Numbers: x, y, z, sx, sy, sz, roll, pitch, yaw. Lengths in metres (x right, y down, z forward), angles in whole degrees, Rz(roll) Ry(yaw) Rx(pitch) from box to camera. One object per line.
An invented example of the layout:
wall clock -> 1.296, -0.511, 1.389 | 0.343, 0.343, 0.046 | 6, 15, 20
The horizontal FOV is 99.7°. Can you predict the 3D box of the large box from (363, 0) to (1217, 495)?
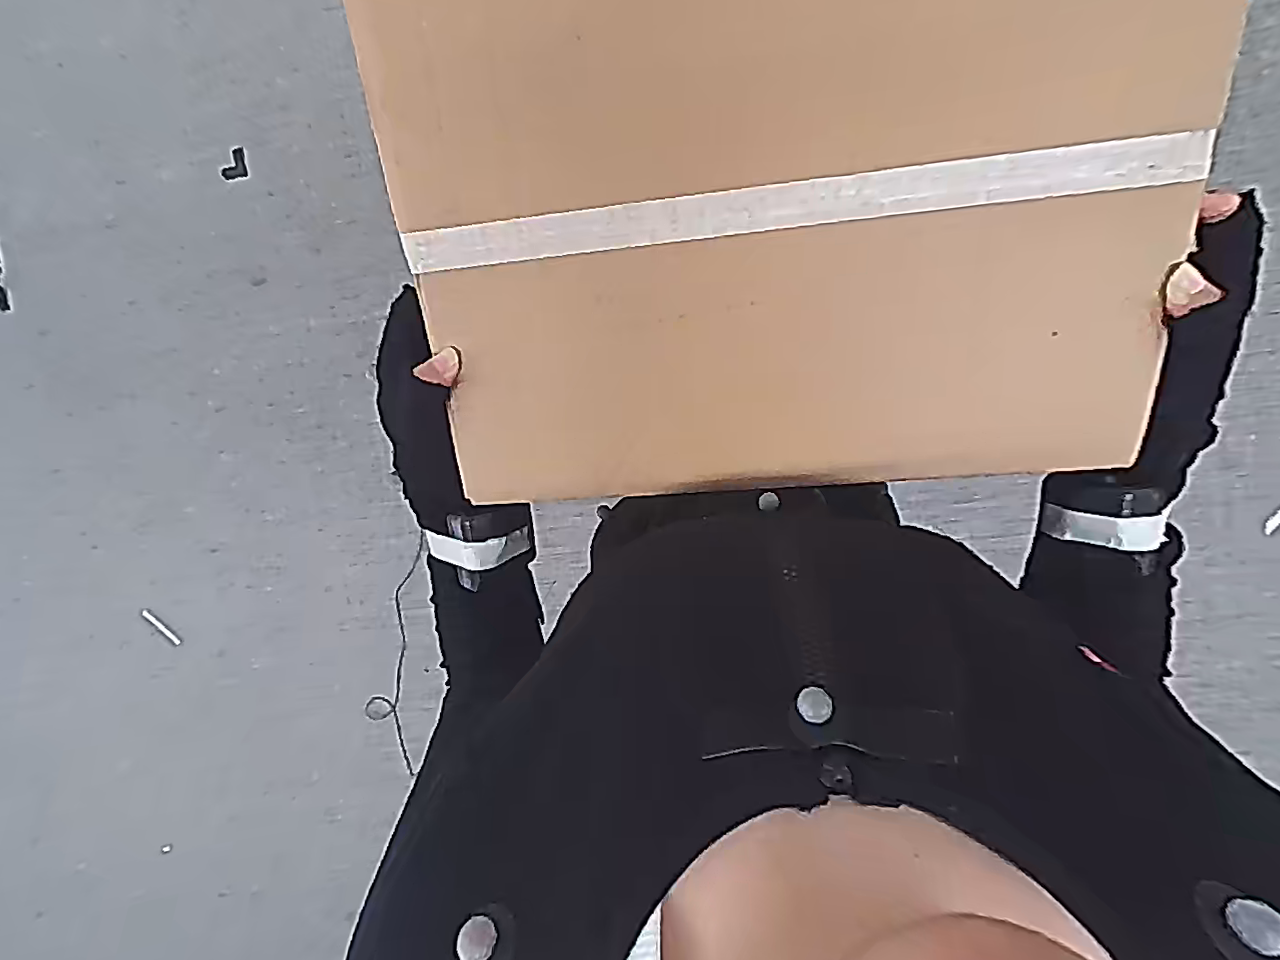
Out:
large box -> 0.080, -0.200, 0.429 | 0.408, 0.320, 0.320 | -4, 112, 6
